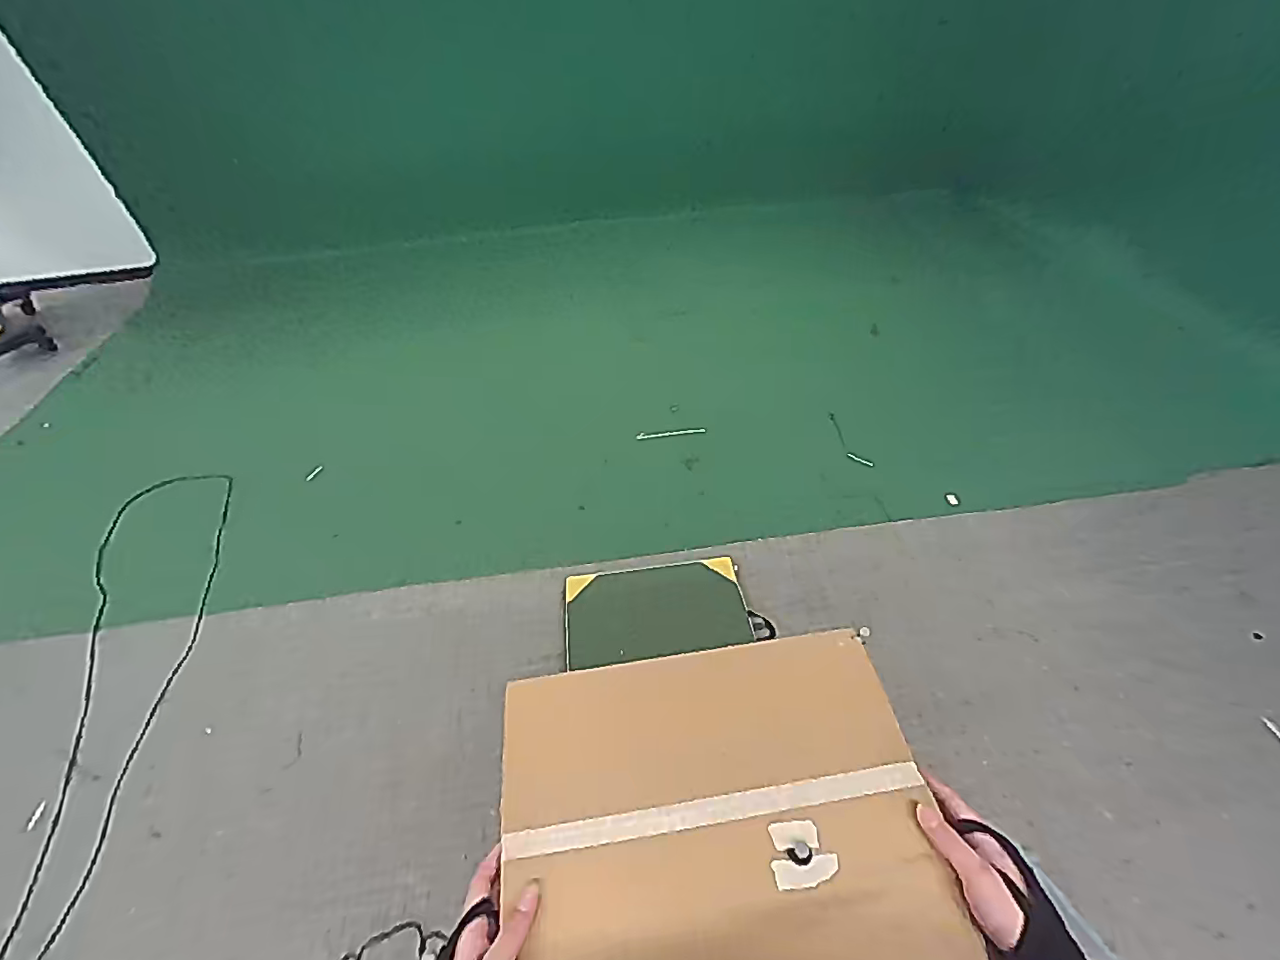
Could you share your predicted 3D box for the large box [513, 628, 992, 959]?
[{"bbox_3d":[0.080,0.415,0.637,0.408,0.320,0.320,-8,48,-3],"label":"large box"}]
